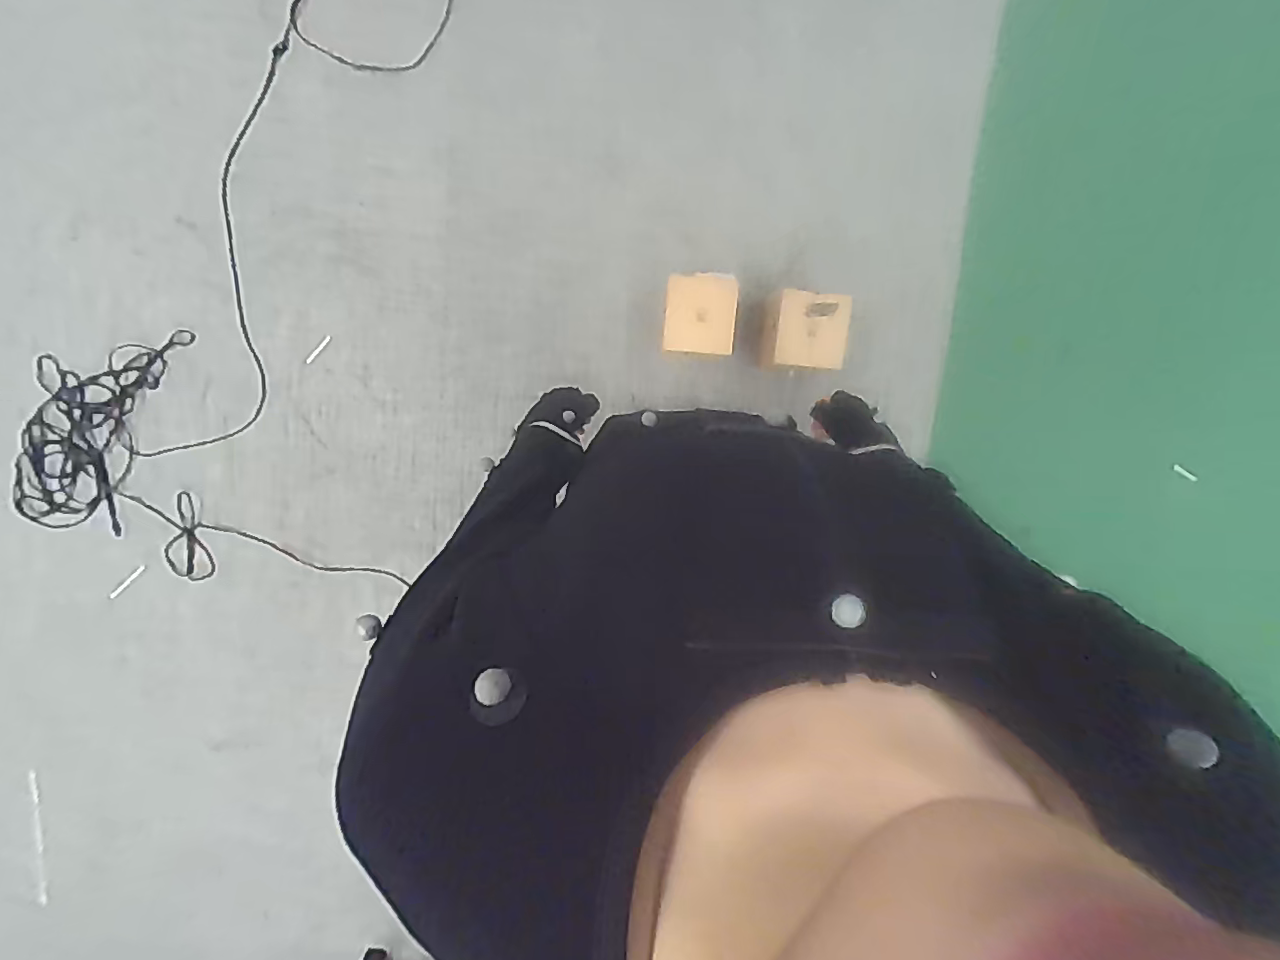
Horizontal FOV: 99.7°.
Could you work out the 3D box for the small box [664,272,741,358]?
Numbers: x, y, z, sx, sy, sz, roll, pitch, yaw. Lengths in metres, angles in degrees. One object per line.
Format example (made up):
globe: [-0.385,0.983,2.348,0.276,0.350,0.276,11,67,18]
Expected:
small box: [0.148,-0.400,1.339,0.168,0.176,0.179,4,98,0]

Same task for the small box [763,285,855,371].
small box: [0.409,-0.369,1.339,0.168,0.176,0.179,5,99,0]
